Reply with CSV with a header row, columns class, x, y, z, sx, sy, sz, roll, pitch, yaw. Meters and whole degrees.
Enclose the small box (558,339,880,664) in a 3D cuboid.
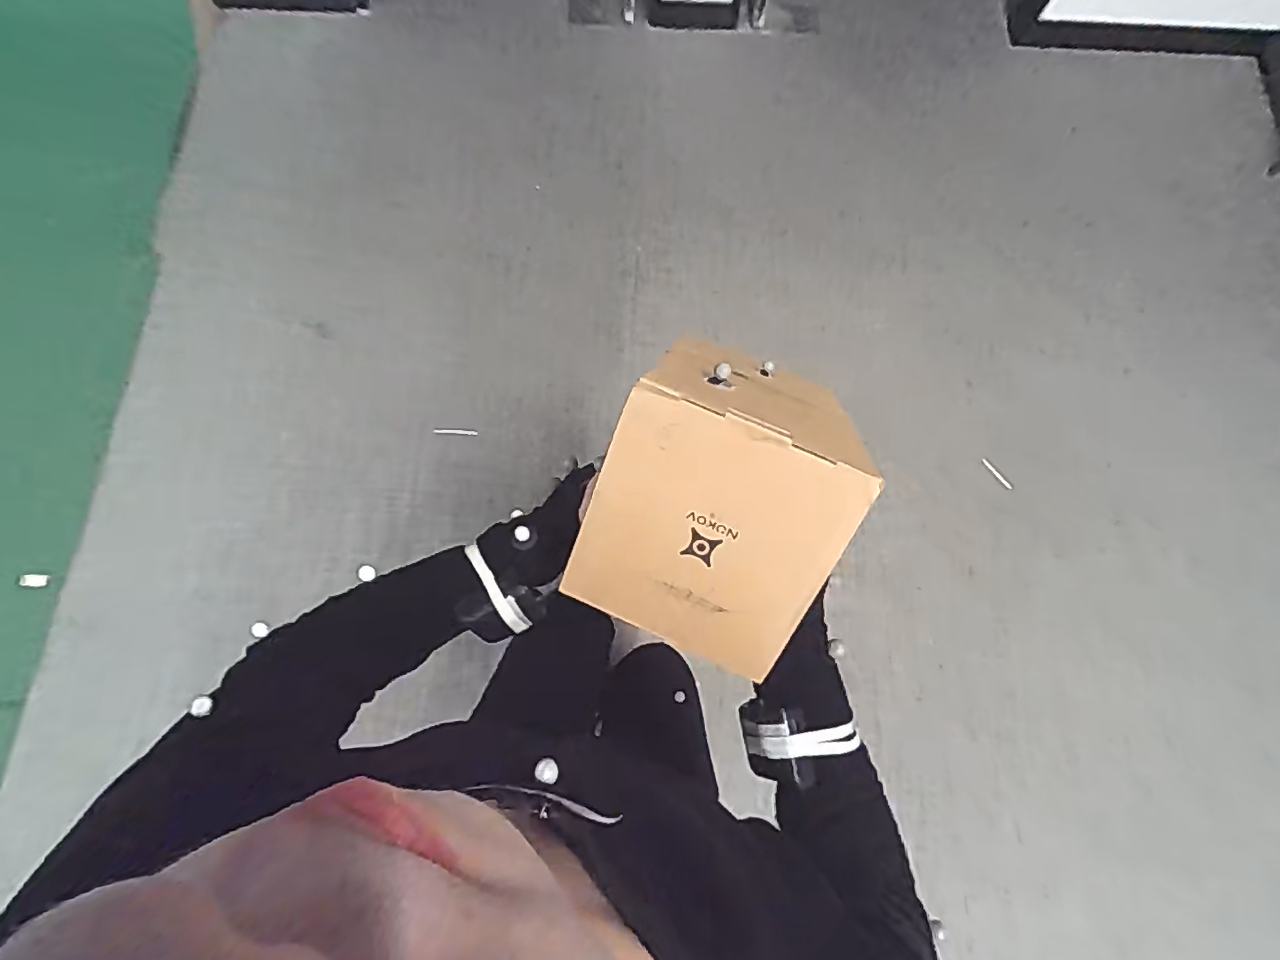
class,x,y,z,sx,sy,sz,roll,pitch,yaw
small box,0.058,0.001,0.433,0.168,0.176,0.179,24,114,4
